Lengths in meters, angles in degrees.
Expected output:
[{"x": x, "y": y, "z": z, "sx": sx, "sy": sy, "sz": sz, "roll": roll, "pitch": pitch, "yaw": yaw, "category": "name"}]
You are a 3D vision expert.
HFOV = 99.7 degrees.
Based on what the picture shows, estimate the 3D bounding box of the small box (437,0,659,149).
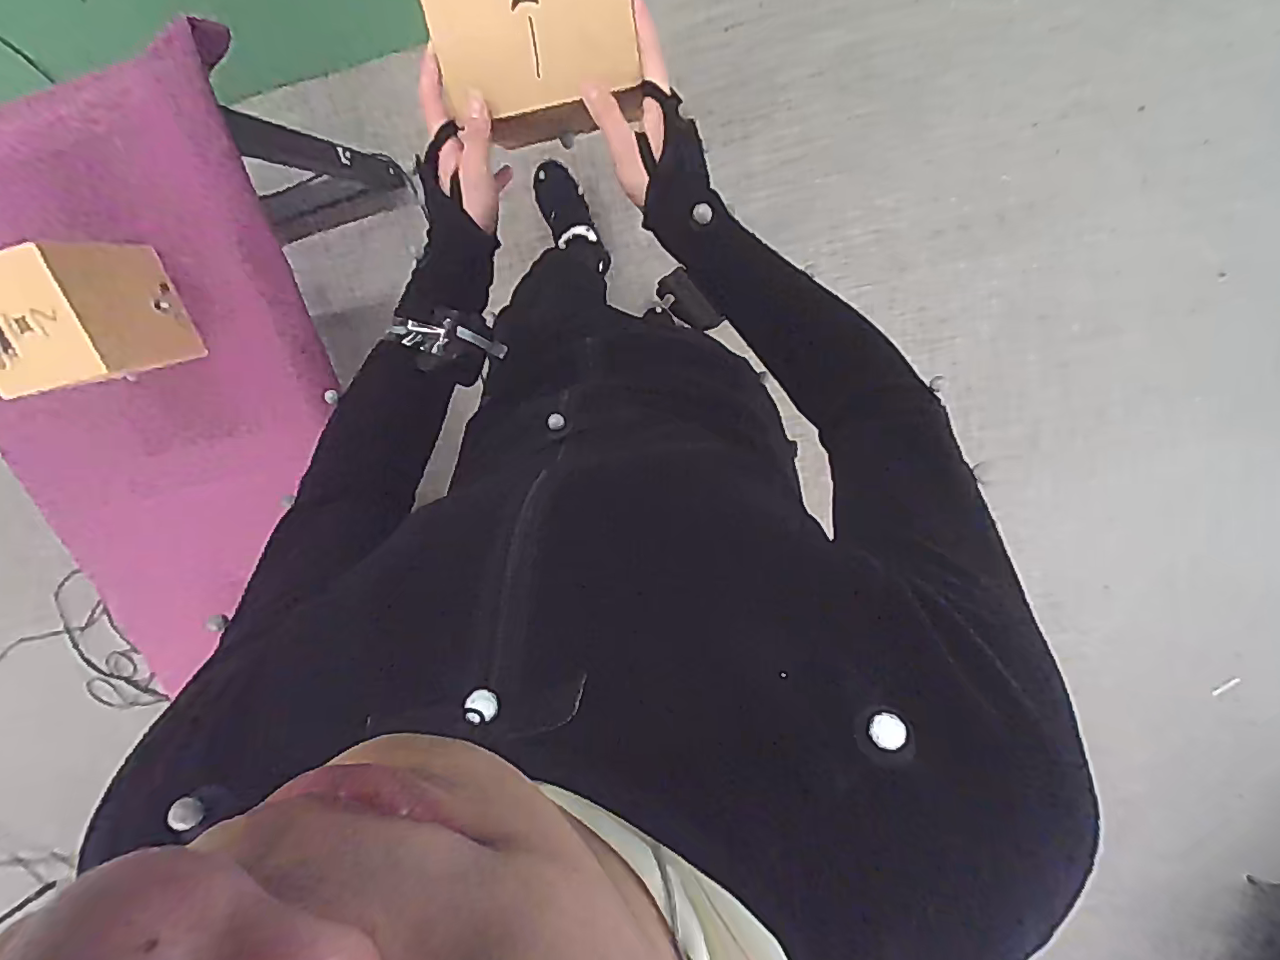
[{"x": -0.077, "y": -0.421, "z": 0.485, "sx": 0.168, "sy": 0.176, "sz": 0.179, "roll": -8, "pitch": 115, "yaw": 6, "category": "small box"}]
